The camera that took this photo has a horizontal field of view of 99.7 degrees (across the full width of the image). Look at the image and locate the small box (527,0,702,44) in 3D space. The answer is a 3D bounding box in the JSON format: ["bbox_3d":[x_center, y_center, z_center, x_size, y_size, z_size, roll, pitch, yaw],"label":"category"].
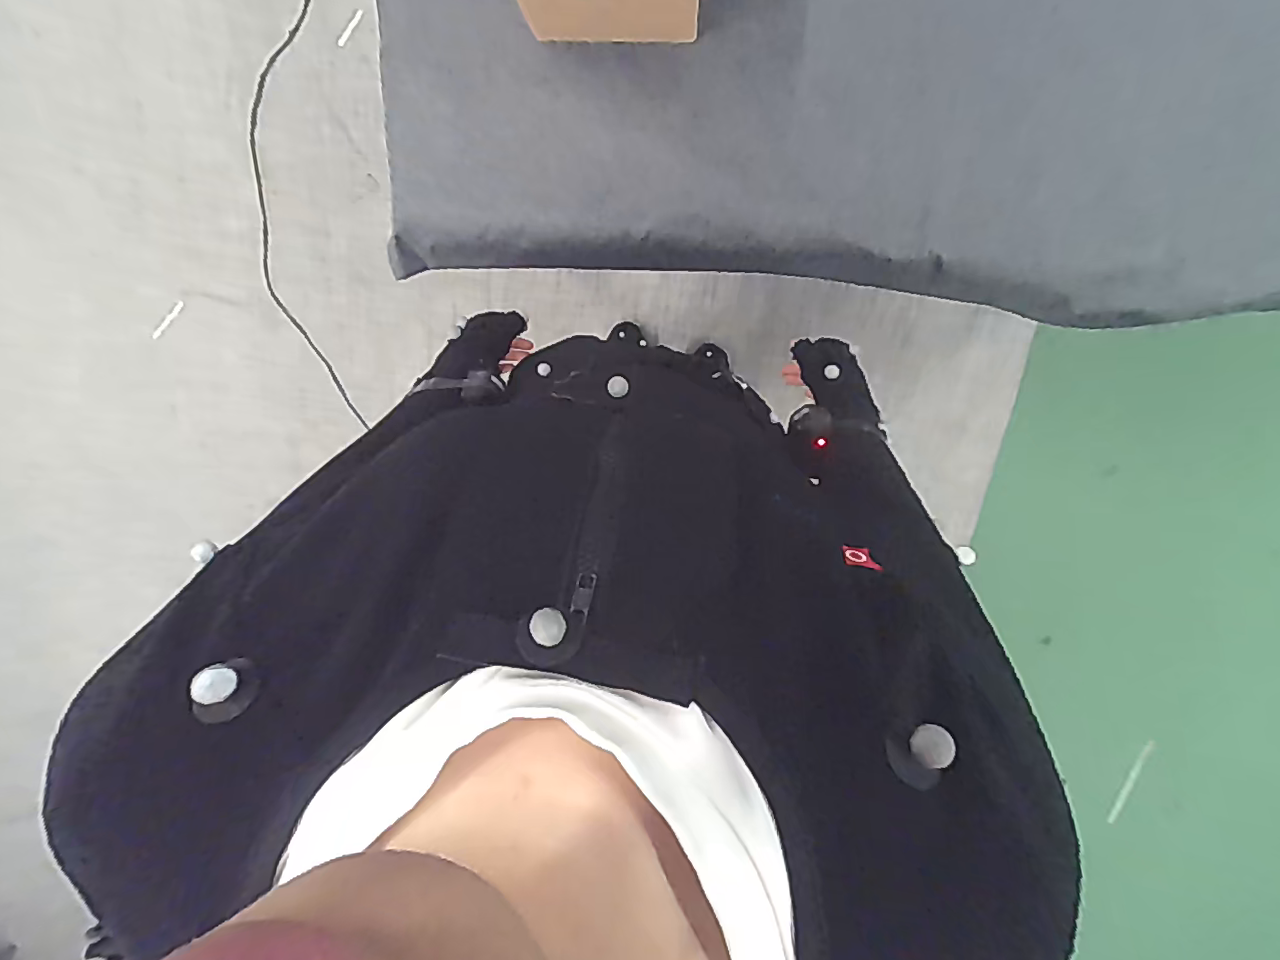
[{"bbox_3d":[-0.025,-0.529,0.487,0.179,0.176,0.168,4,107,3],"label":"small box"}]
